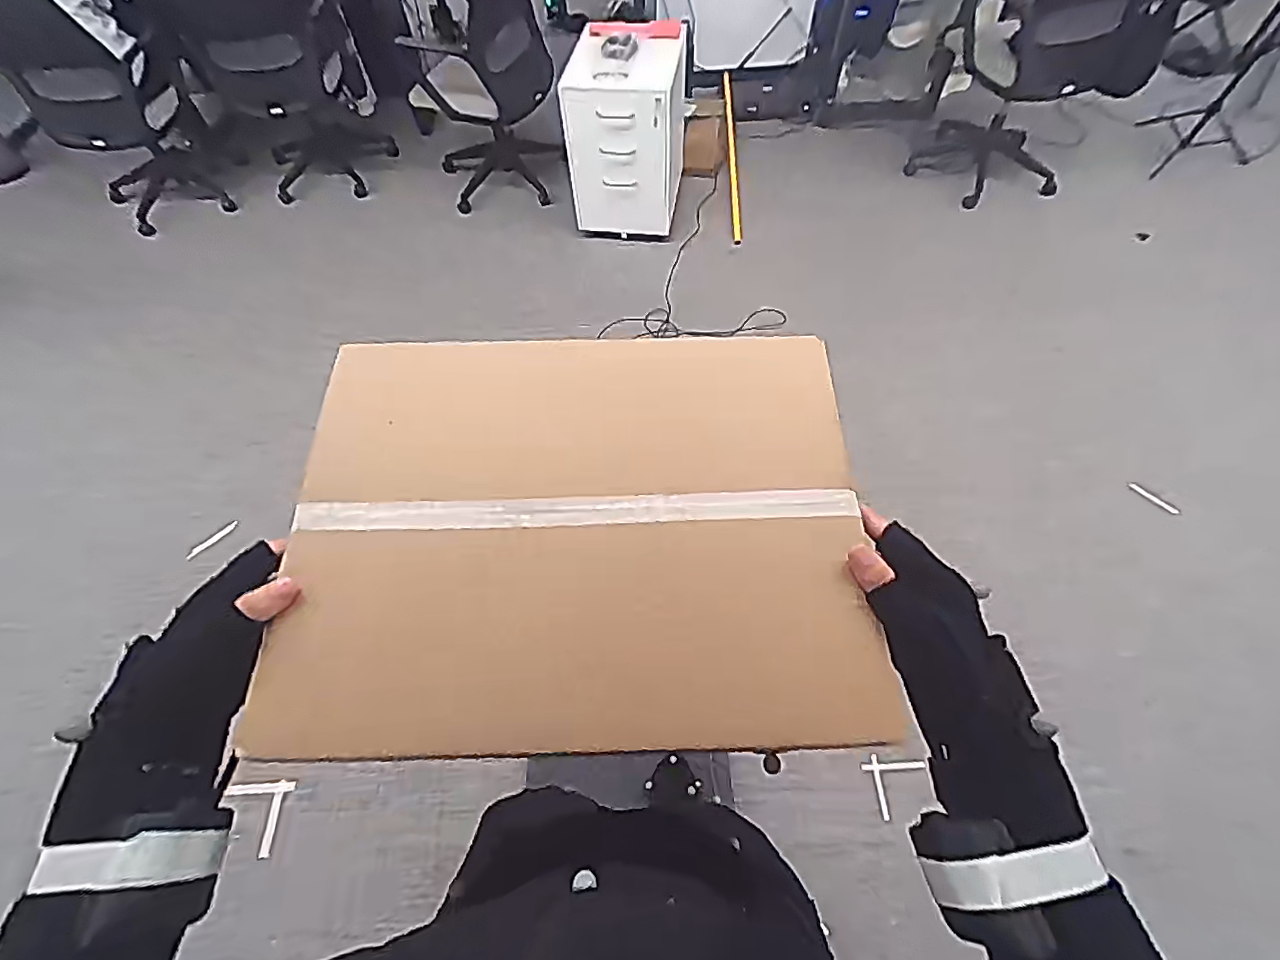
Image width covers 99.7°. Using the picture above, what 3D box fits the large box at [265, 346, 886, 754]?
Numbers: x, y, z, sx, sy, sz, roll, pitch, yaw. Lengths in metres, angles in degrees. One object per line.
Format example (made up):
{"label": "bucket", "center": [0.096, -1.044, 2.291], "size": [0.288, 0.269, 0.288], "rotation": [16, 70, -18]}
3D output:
{"label": "large box", "center": [-0.043, 0.088, 0.539], "size": [0.408, 0.320, 0.320], "rotation": [-1, 64, -1]}
